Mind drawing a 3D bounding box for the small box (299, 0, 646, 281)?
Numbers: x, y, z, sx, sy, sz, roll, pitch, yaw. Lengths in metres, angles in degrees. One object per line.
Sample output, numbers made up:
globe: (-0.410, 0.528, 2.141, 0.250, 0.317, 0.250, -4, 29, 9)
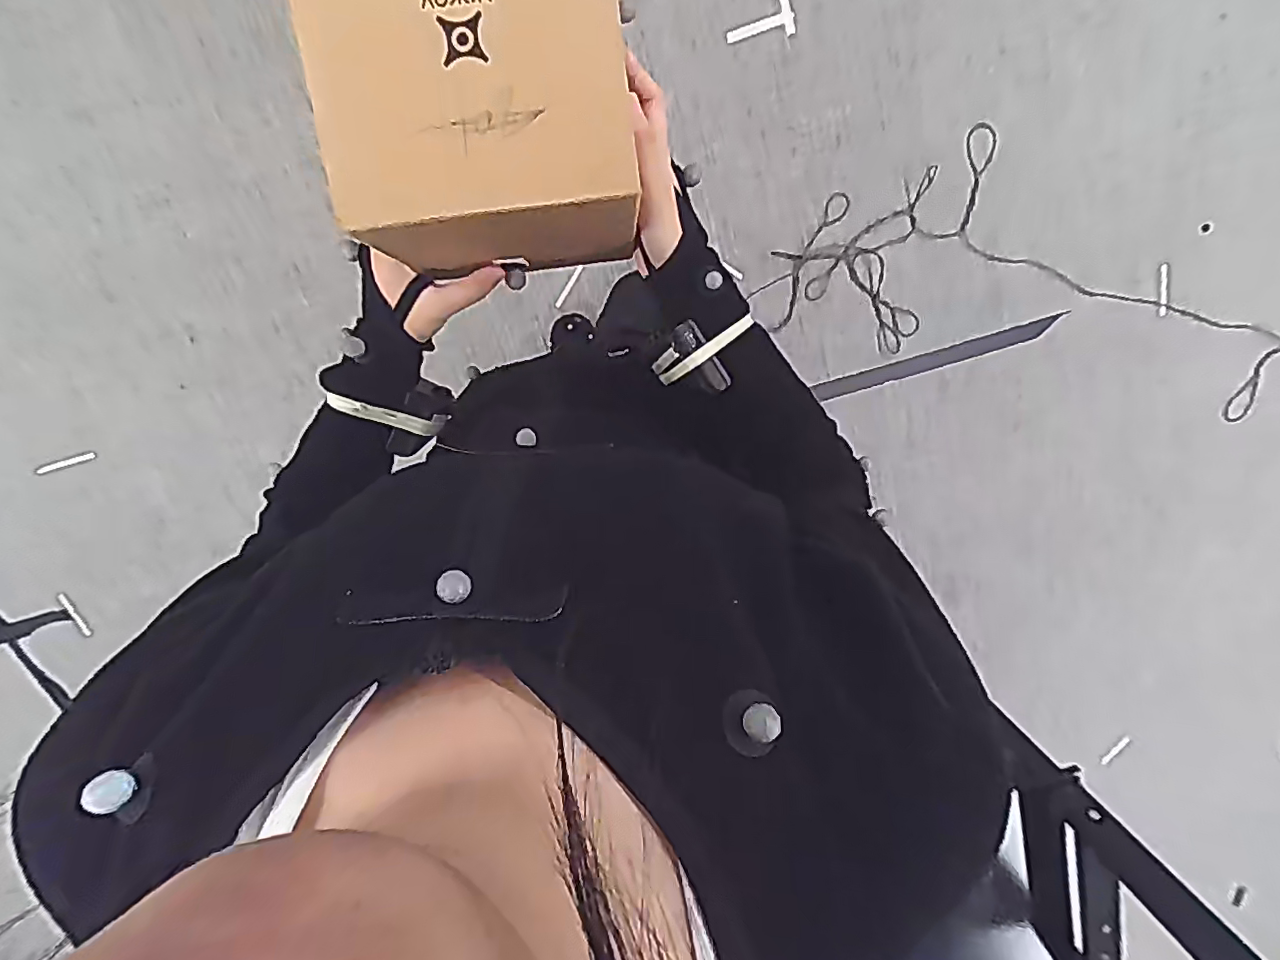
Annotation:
small box: (-0.092, -0.245, 0.355, 0.168, 0.176, 0.179, -8, 101, 0)
